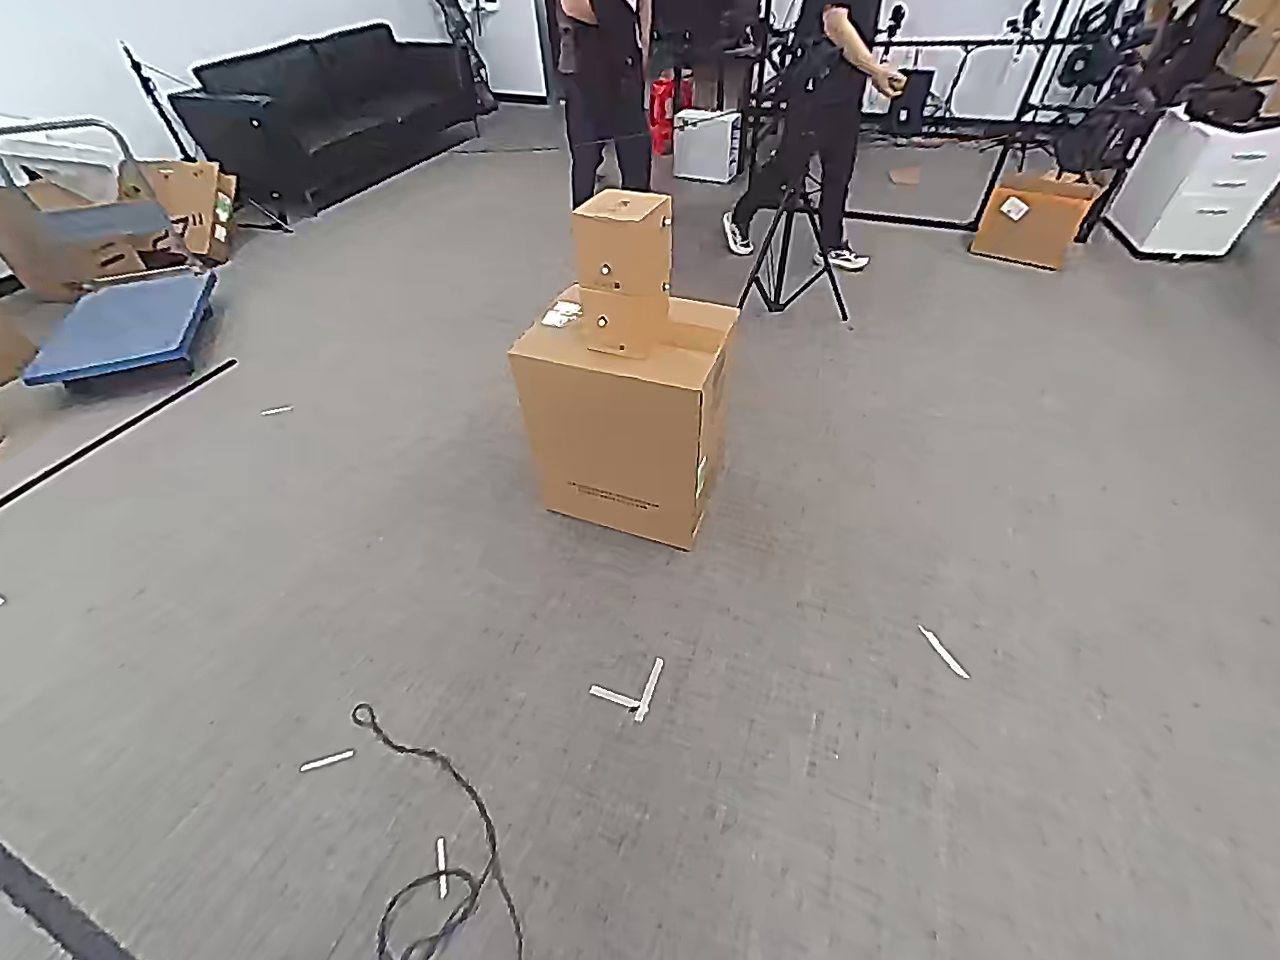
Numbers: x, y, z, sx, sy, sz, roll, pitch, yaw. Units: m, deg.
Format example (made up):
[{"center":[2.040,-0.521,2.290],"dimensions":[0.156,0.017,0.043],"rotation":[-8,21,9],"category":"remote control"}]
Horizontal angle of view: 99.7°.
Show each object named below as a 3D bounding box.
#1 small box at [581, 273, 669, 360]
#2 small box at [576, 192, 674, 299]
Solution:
[{"center":[-0.030,-0.424,1.366],"dimensions":[0.168,0.176,0.179],"rotation":[16,47,18],"category":"small box"},{"center":[-0.030,-0.545,1.253],"dimensions":[0.168,0.176,0.179],"rotation":[17,48,20],"category":"small box"}]
